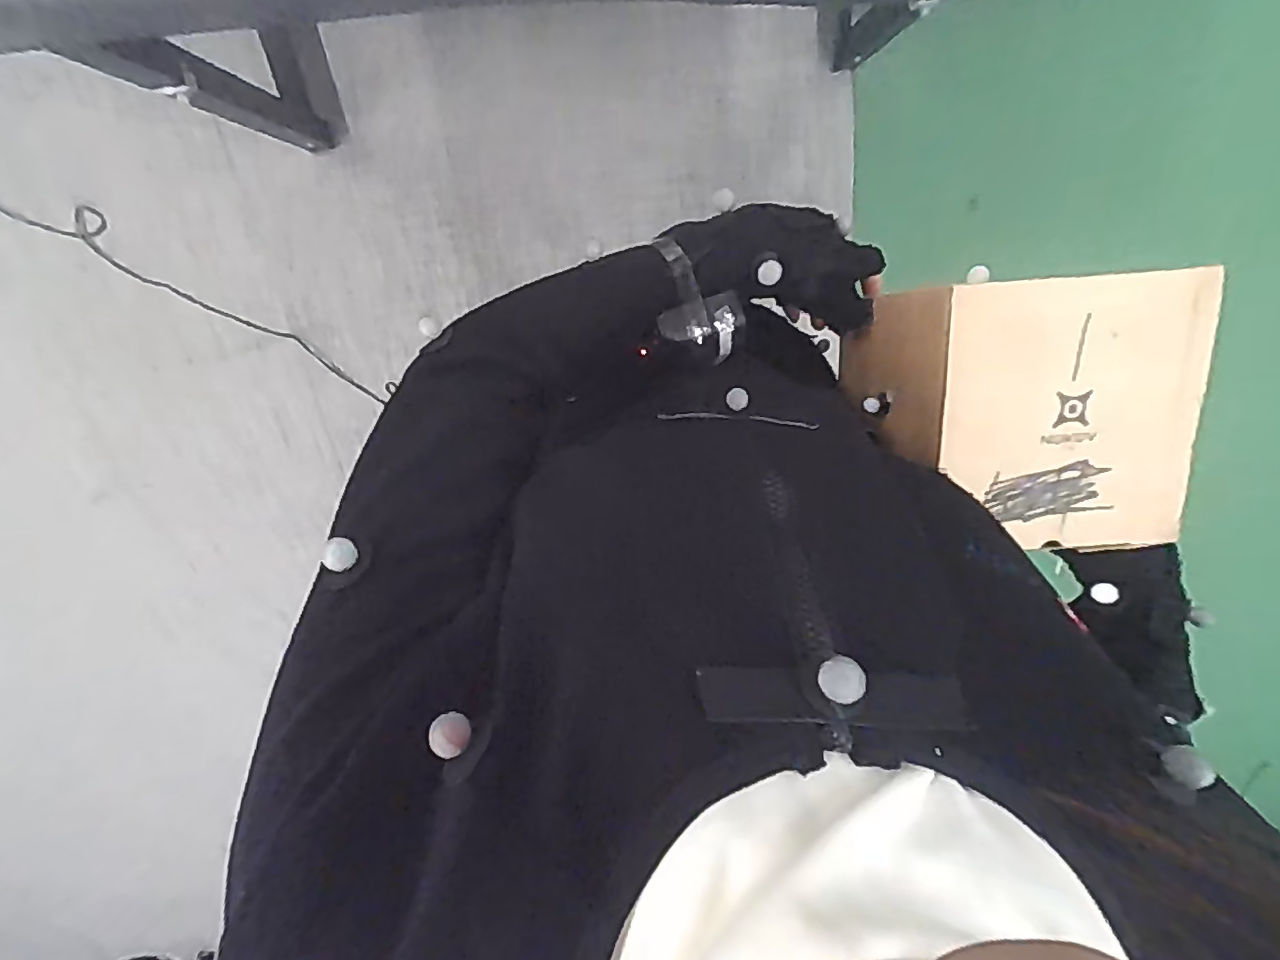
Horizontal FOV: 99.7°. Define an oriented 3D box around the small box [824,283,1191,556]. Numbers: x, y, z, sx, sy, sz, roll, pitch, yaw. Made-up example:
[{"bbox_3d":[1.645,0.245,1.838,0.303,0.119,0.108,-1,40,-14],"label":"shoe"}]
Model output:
[{"bbox_3d":[0.257,-0.054,0.428,0.168,0.176,0.179,-3,104,-2],"label":"small box"}]
